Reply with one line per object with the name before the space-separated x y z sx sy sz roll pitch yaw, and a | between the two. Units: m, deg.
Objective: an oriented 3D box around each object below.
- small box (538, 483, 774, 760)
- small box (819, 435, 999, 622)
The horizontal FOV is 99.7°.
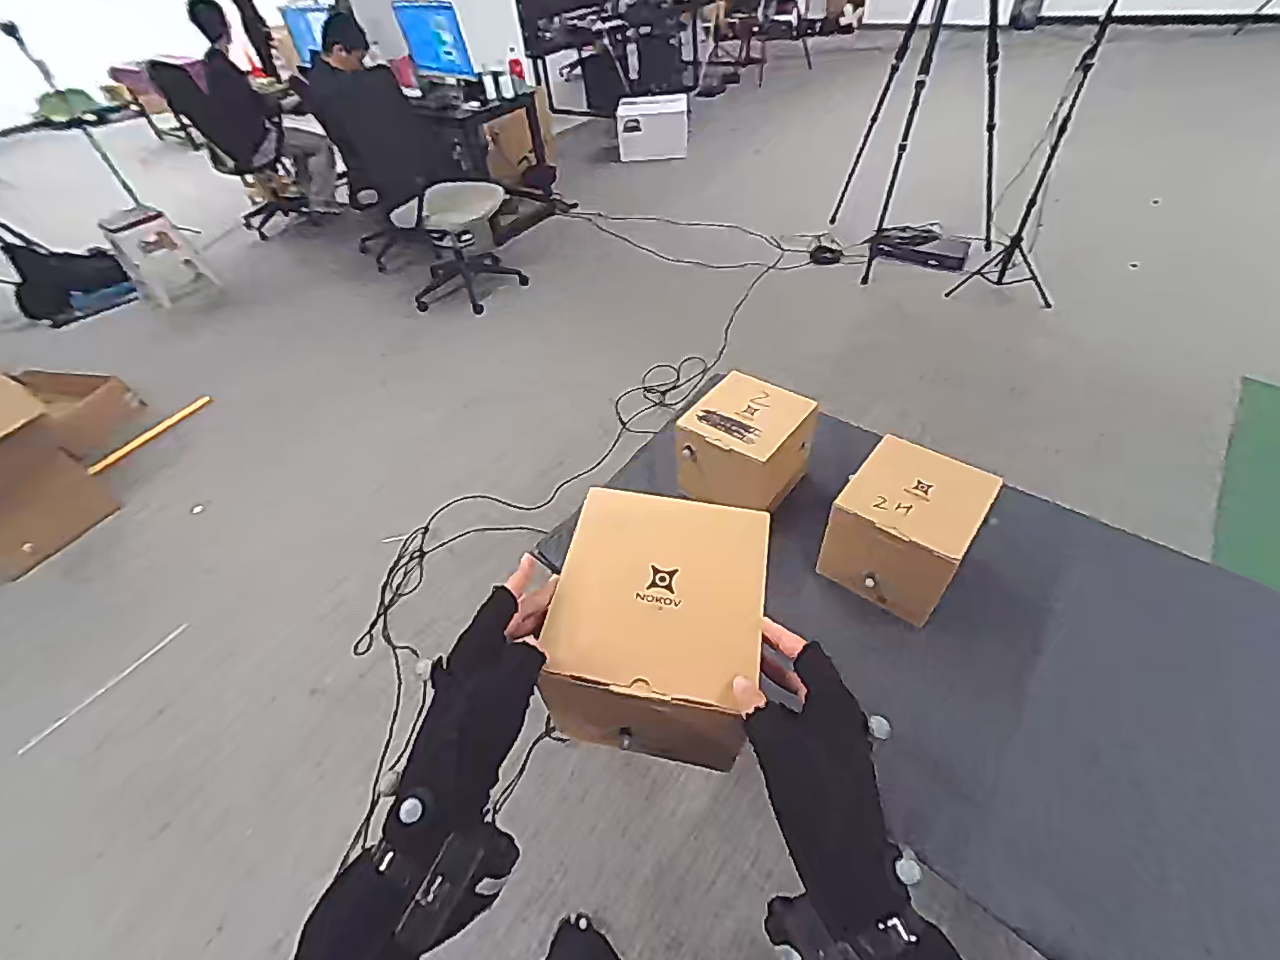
small box | 0.021 0.131 0.498 0.168 0.176 0.179 9 52 8
small box | 0.384 0.071 0.797 0.168 0.176 0.179 30 57 29
